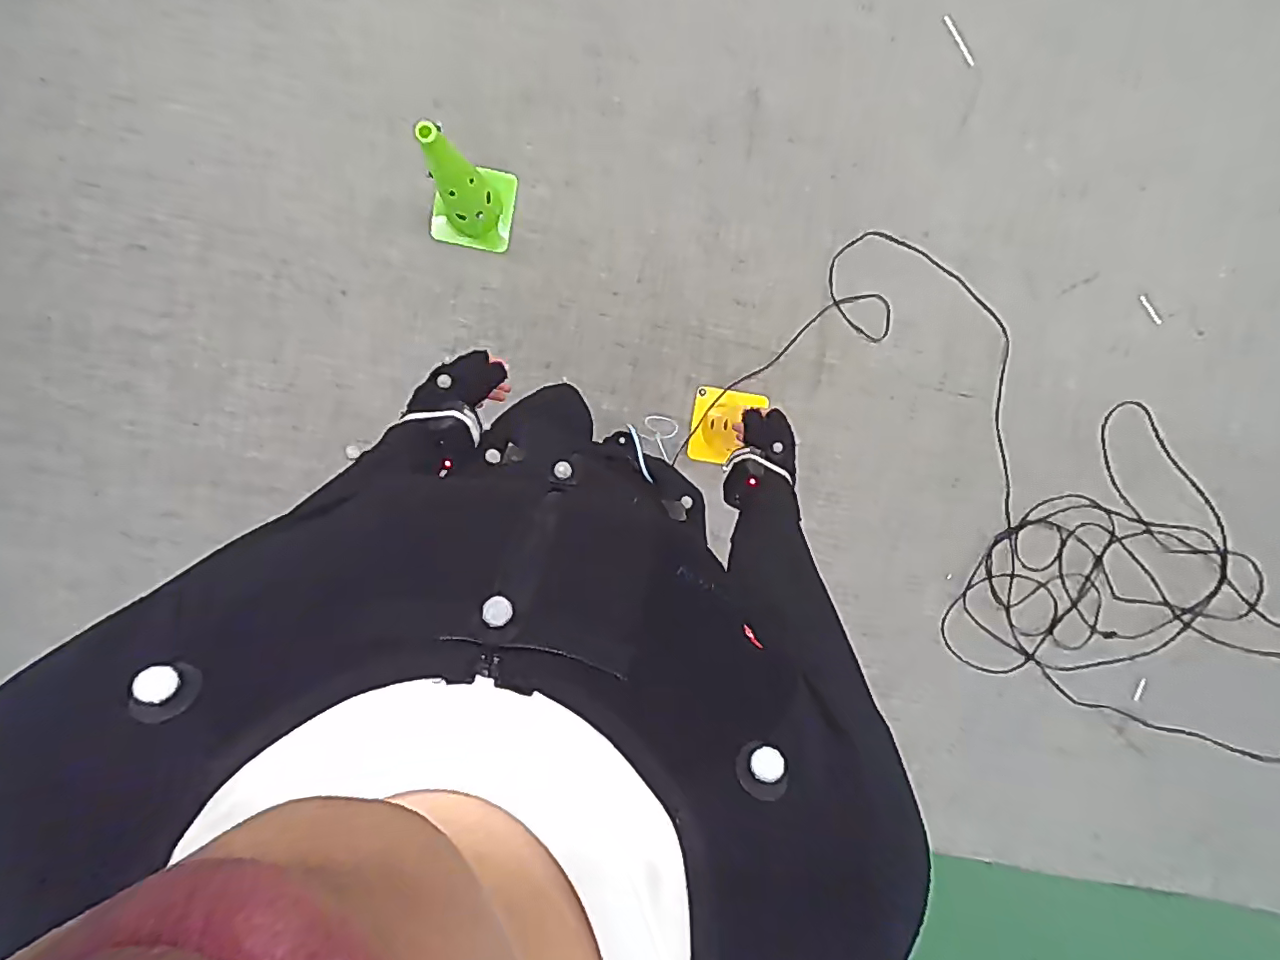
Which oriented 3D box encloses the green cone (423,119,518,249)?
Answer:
[{"bbox_3d":[-0.415,-0.691,1.218,0.202,0.368,0.200,10,96,-4],"label":"green cone"}]
